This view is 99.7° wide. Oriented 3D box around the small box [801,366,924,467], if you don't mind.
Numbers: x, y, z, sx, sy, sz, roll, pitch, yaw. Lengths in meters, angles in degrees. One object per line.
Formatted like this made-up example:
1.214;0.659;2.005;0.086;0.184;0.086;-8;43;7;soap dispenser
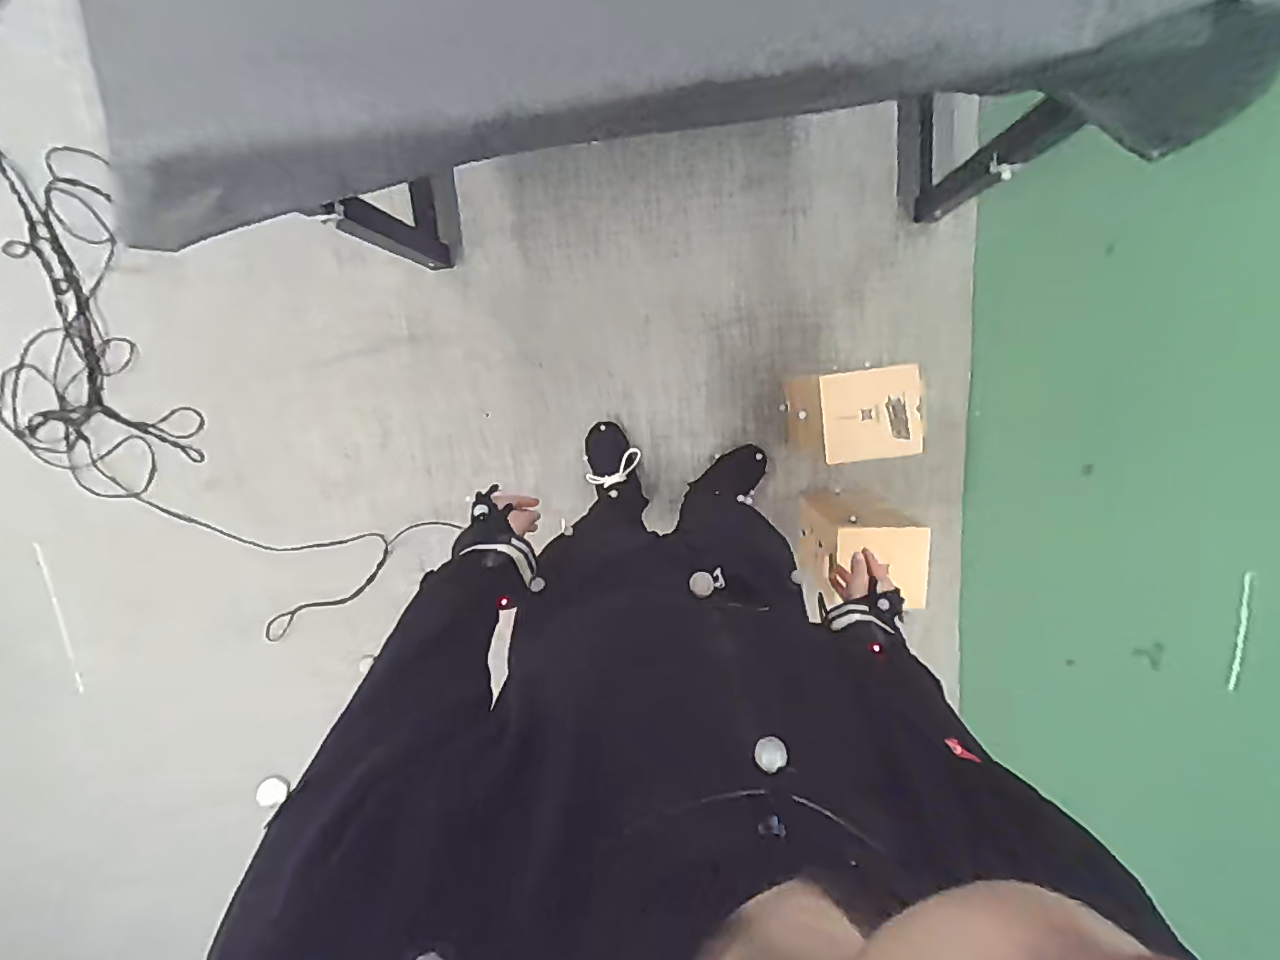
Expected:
0.424;-0.127;1.049;0.179;0.176;0.168;-7;99;7;small box

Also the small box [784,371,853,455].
0.430;-0.154;1.210;0.179;0.176;0.168;-6;99;6;small box

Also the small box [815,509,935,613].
0.466;0.158;1.097;0.179;0.176;0.168;-1;100;5;small box

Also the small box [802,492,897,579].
0.477;0.126;1.256;0.179;0.176;0.168;-2;101;6;small box
